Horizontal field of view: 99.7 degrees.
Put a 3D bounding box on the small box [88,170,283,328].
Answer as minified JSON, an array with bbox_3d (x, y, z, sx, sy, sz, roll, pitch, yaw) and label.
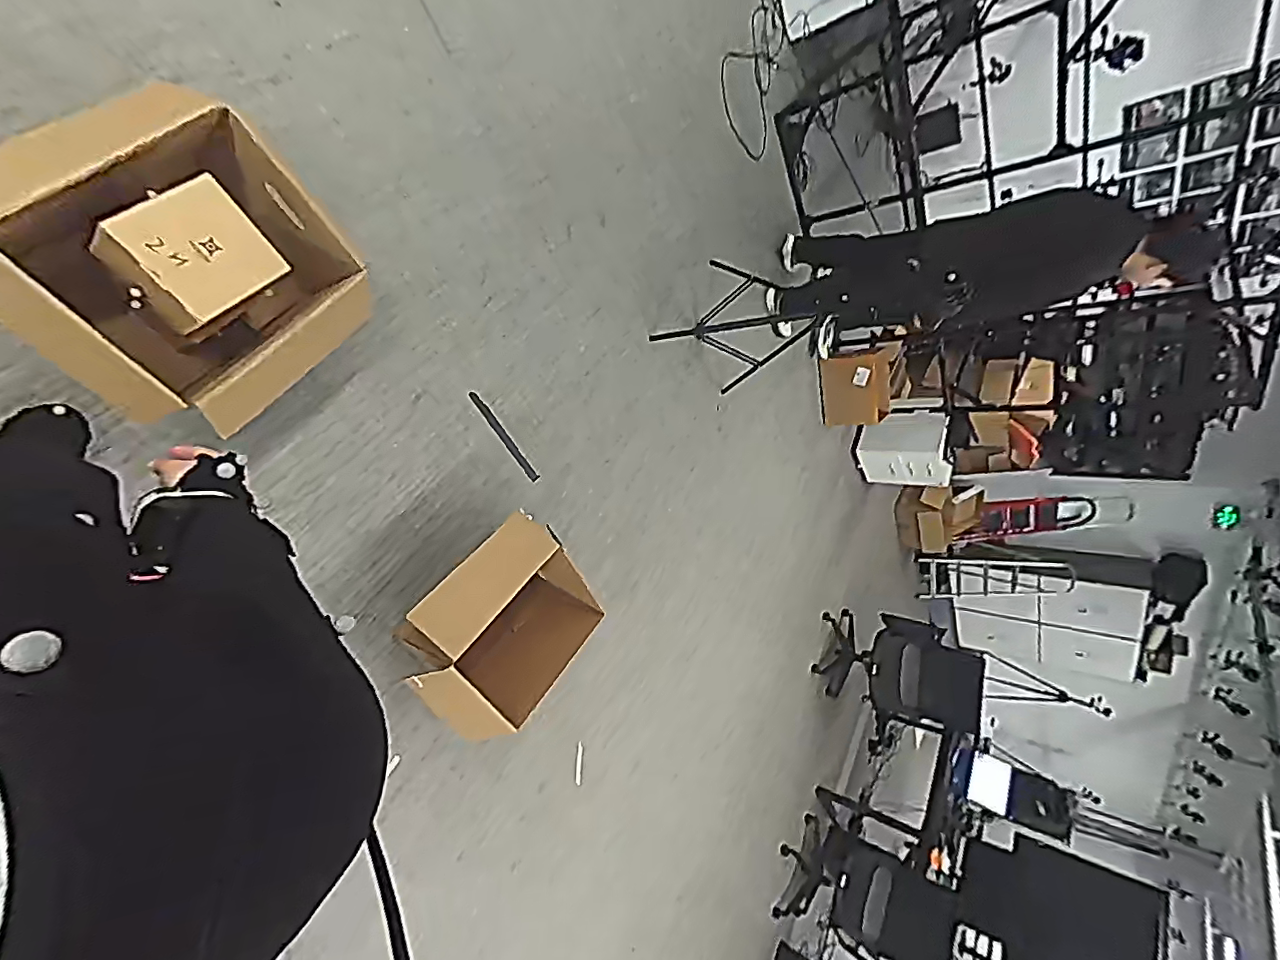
[{"bbox_3d":[-0.749,-0.373,0.892,0.179,0.176,0.168,-55,131,-31],"label":"small box"}]
